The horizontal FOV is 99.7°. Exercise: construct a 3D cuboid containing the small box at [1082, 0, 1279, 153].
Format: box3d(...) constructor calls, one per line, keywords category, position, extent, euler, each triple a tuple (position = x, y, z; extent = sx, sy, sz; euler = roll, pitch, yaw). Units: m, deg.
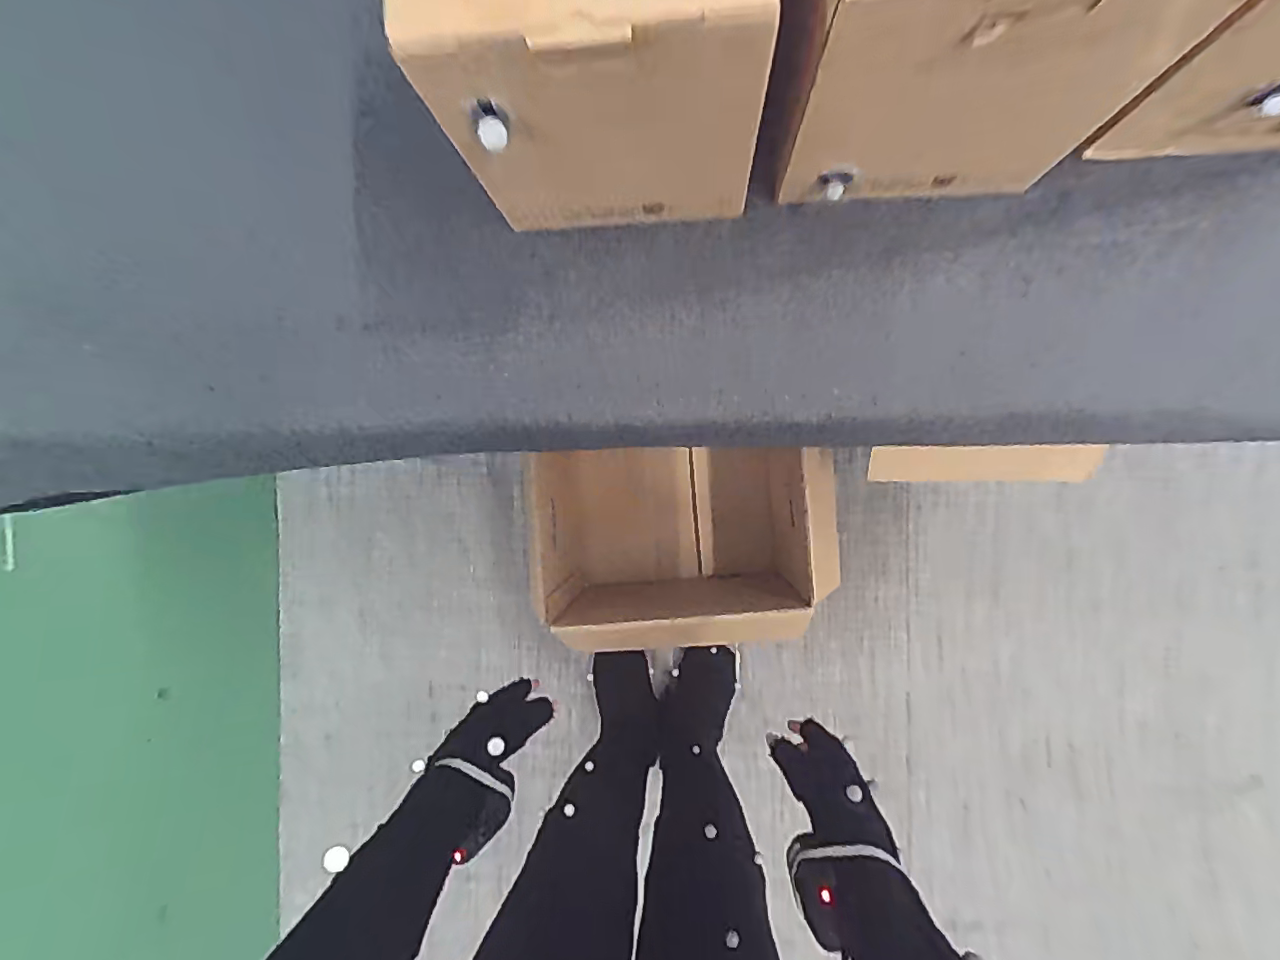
box3d(category="small box", position=(0.364, -0.300, 0.269), extent=(0.168, 0.176, 0.179), euler=(0, 91, 5))
